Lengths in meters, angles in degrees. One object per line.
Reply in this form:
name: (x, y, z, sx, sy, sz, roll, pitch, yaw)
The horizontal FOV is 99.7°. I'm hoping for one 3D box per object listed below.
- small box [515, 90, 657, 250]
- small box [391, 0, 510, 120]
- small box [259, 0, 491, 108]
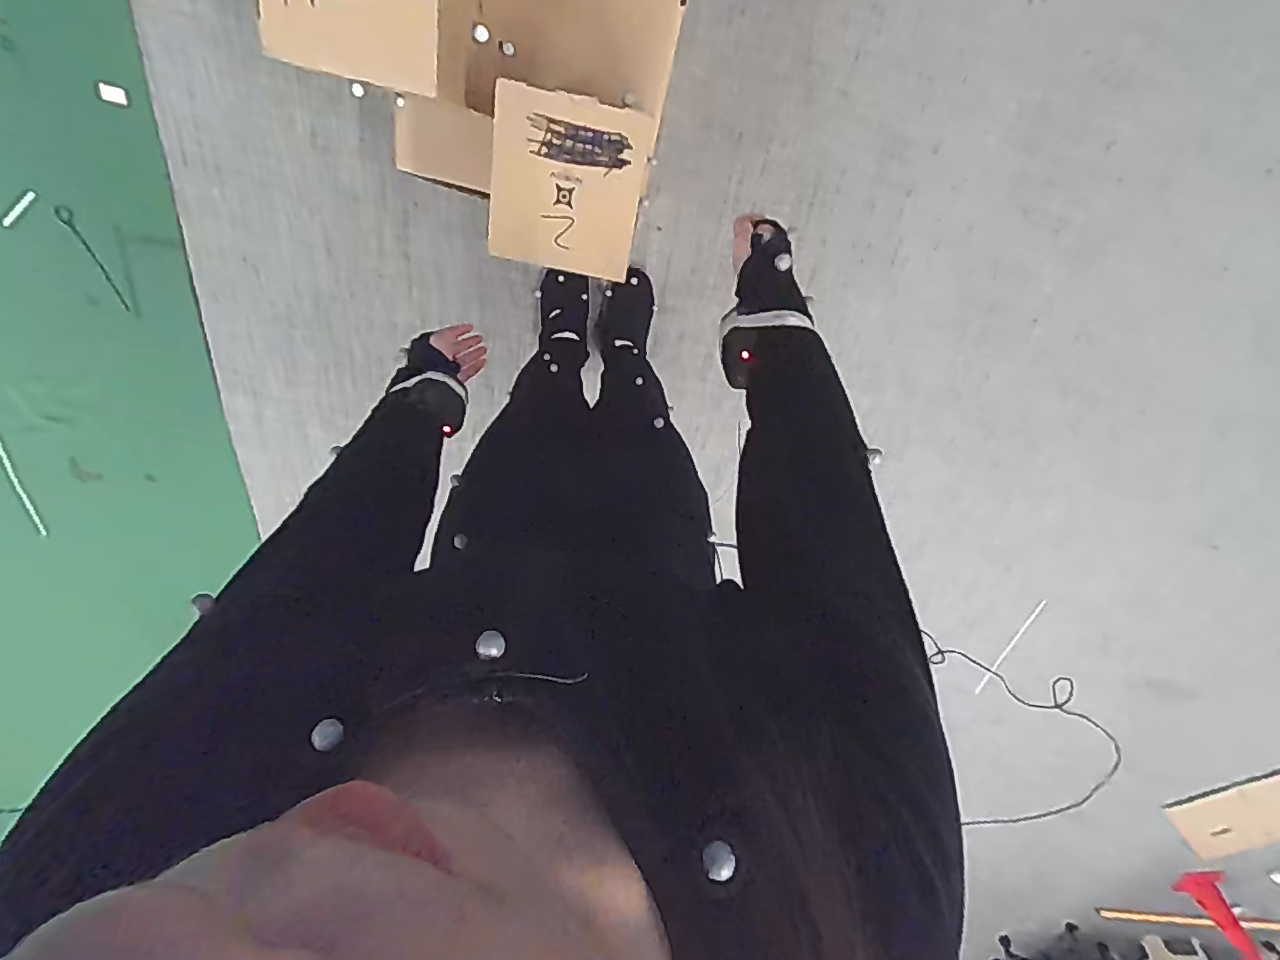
small box: (-0.078, -0.456, 0.802, 0.179, 0.176, 0.168, 9, 120, -5)
small box: (-0.274, -0.602, 0.714, 0.168, 0.176, 0.179, 11, 119, -6)
small box: (-0.270, -0.513, 0.574, 0.179, 0.176, 0.168, 11, 120, -5)
